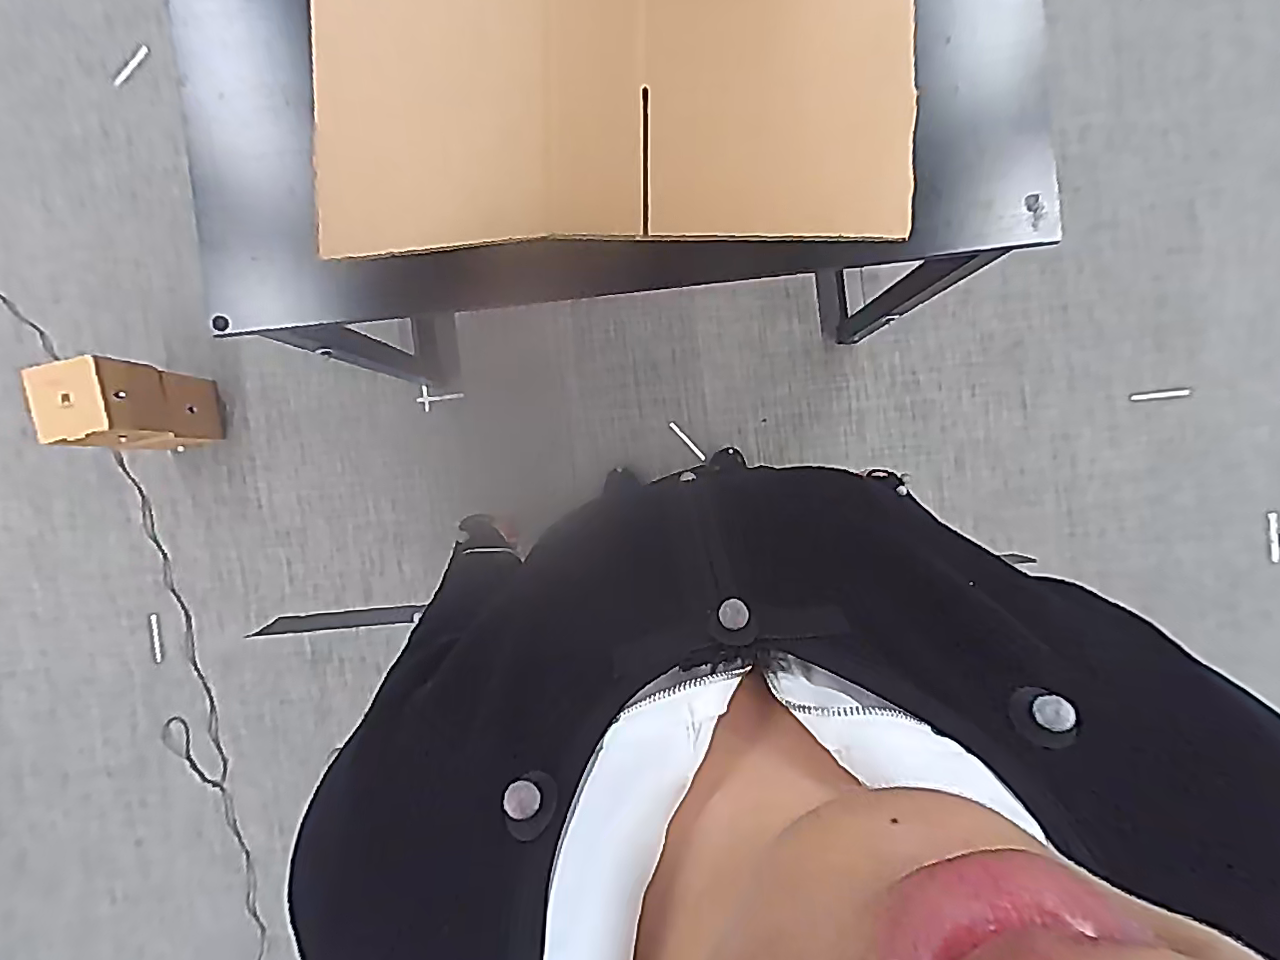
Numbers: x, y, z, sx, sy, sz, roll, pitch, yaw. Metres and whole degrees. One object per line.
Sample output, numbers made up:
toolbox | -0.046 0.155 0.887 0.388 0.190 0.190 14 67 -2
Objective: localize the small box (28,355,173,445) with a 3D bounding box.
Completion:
small box | -1.273 -0.183 1.292 0.168 0.176 0.179 -12 91 1

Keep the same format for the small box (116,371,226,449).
small box | -1.267 -0.182 1.455 0.168 0.176 0.179 -10 92 2
